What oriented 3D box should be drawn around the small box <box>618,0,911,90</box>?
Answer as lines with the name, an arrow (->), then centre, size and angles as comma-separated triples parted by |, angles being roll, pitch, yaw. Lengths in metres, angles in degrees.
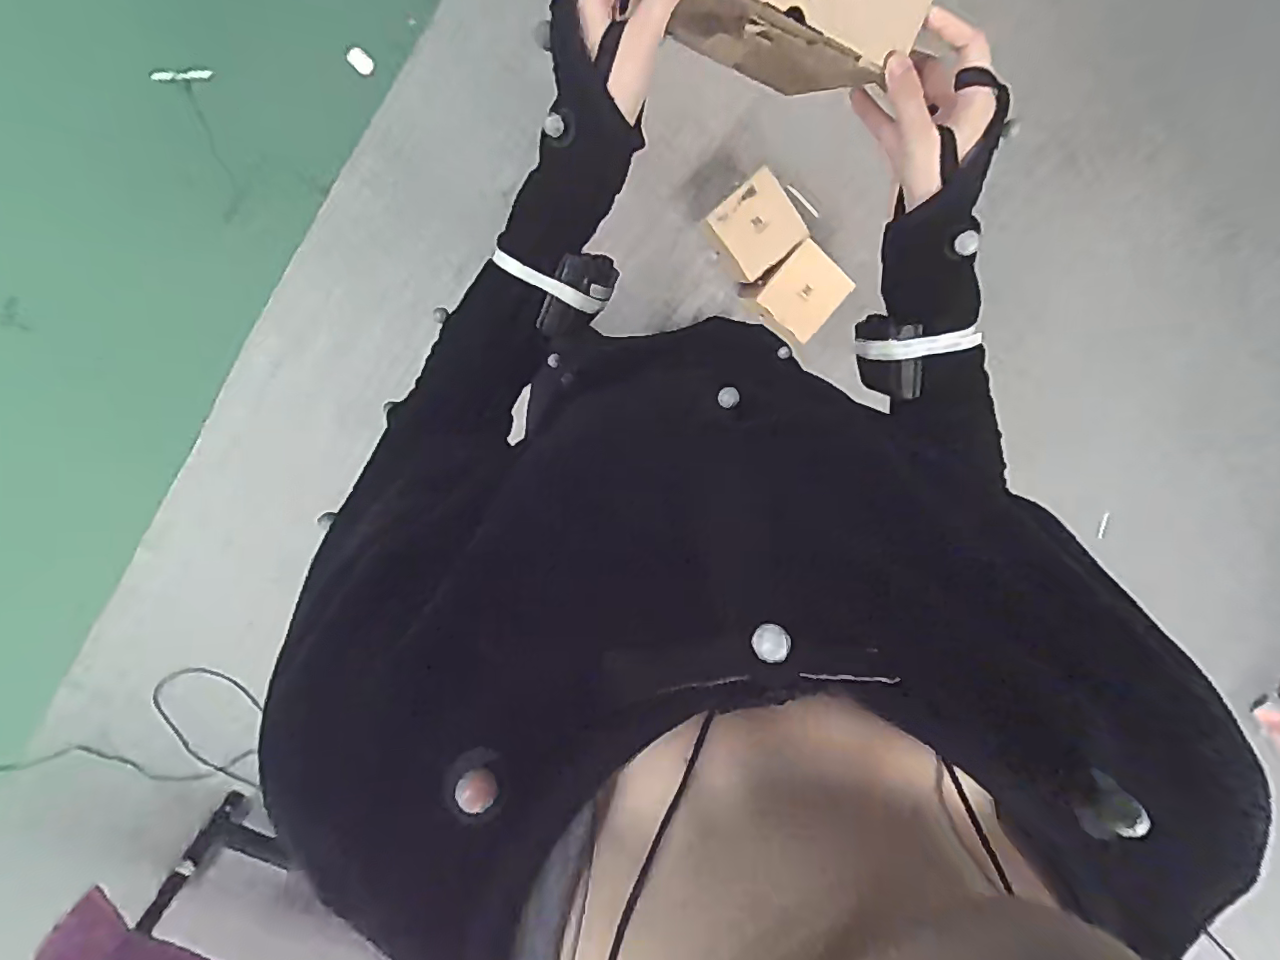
small box -> 0.088, -0.386, 0.353 | 0.168, 0.176, 0.179 | 9, 118, -20

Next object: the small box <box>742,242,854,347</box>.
small box -> 0.376, -0.454, 1.323 | 0.168, 0.176, 0.179 | 37, 105, -16
